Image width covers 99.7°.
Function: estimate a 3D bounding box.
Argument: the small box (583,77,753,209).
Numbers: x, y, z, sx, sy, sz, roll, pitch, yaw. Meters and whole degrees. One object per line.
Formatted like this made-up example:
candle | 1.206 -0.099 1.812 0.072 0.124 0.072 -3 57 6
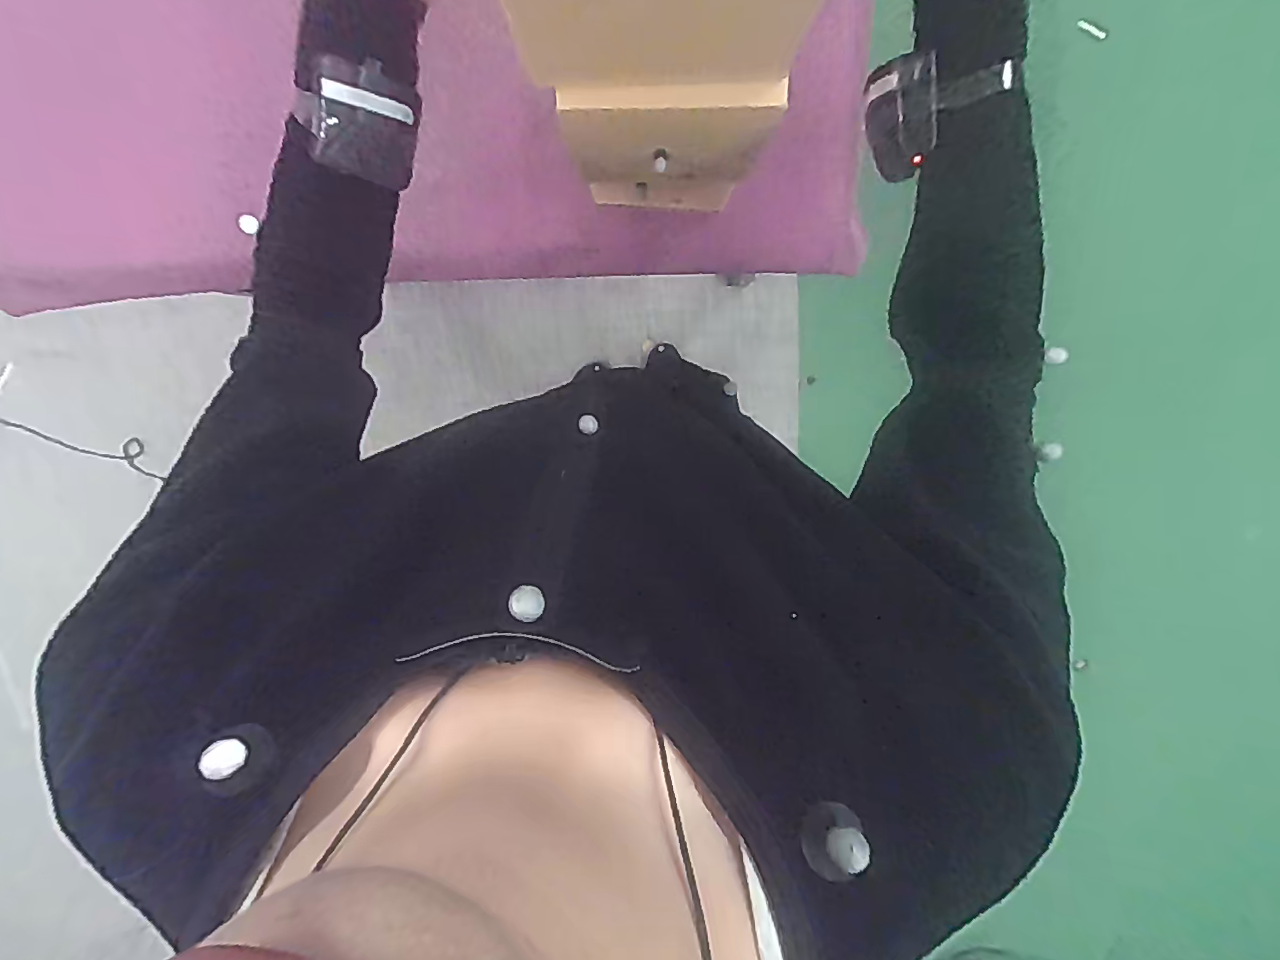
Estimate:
small box | 0.032 -0.414 0.597 0.168 0.176 0.179 4 103 0
